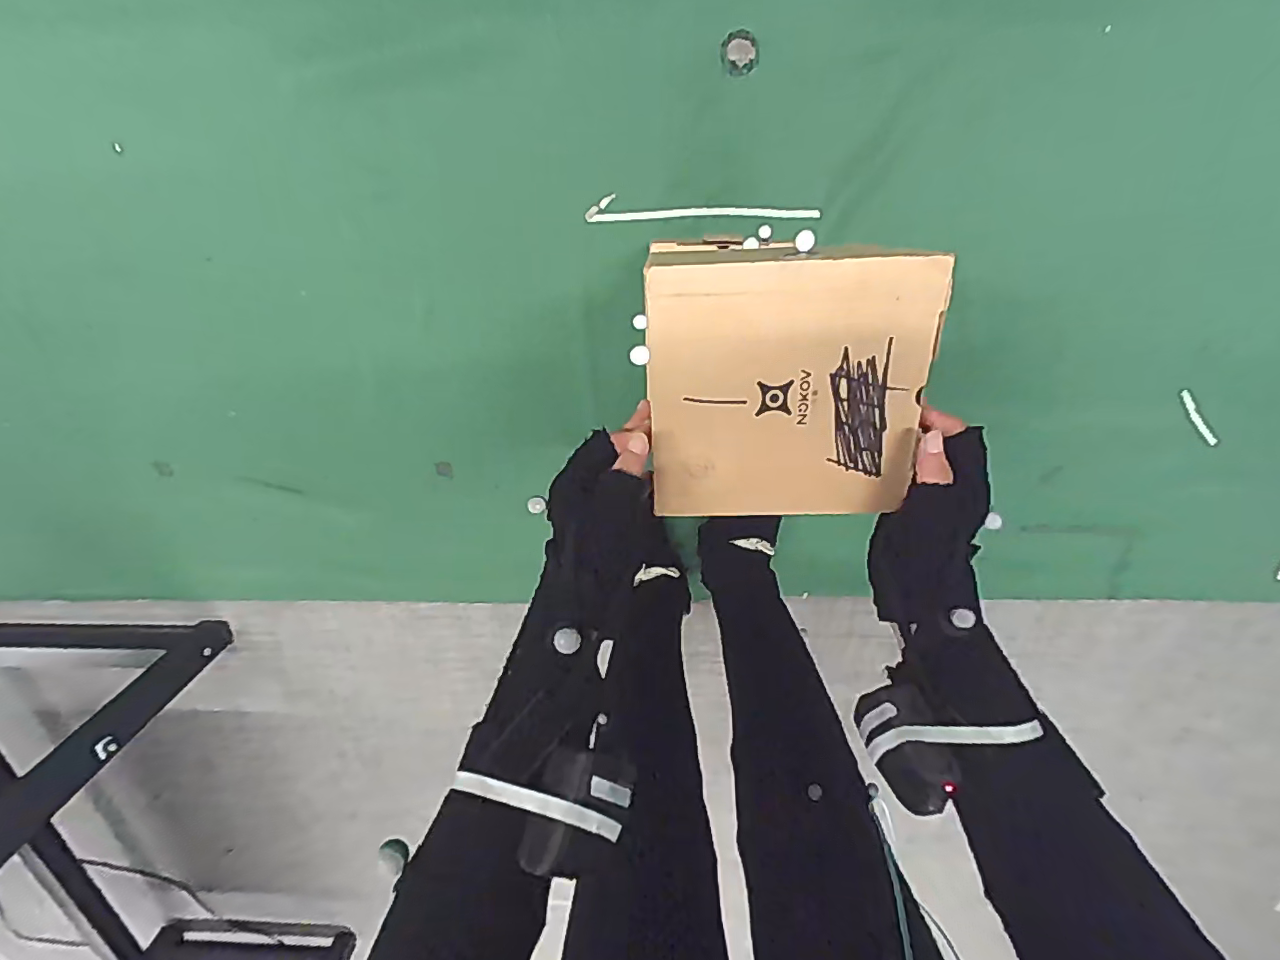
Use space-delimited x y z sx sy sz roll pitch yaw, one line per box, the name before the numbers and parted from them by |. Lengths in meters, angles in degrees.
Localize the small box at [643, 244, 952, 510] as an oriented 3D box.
small box | 0.091 -0.088 0.409 0.179 0.176 0.168 0 113 1
